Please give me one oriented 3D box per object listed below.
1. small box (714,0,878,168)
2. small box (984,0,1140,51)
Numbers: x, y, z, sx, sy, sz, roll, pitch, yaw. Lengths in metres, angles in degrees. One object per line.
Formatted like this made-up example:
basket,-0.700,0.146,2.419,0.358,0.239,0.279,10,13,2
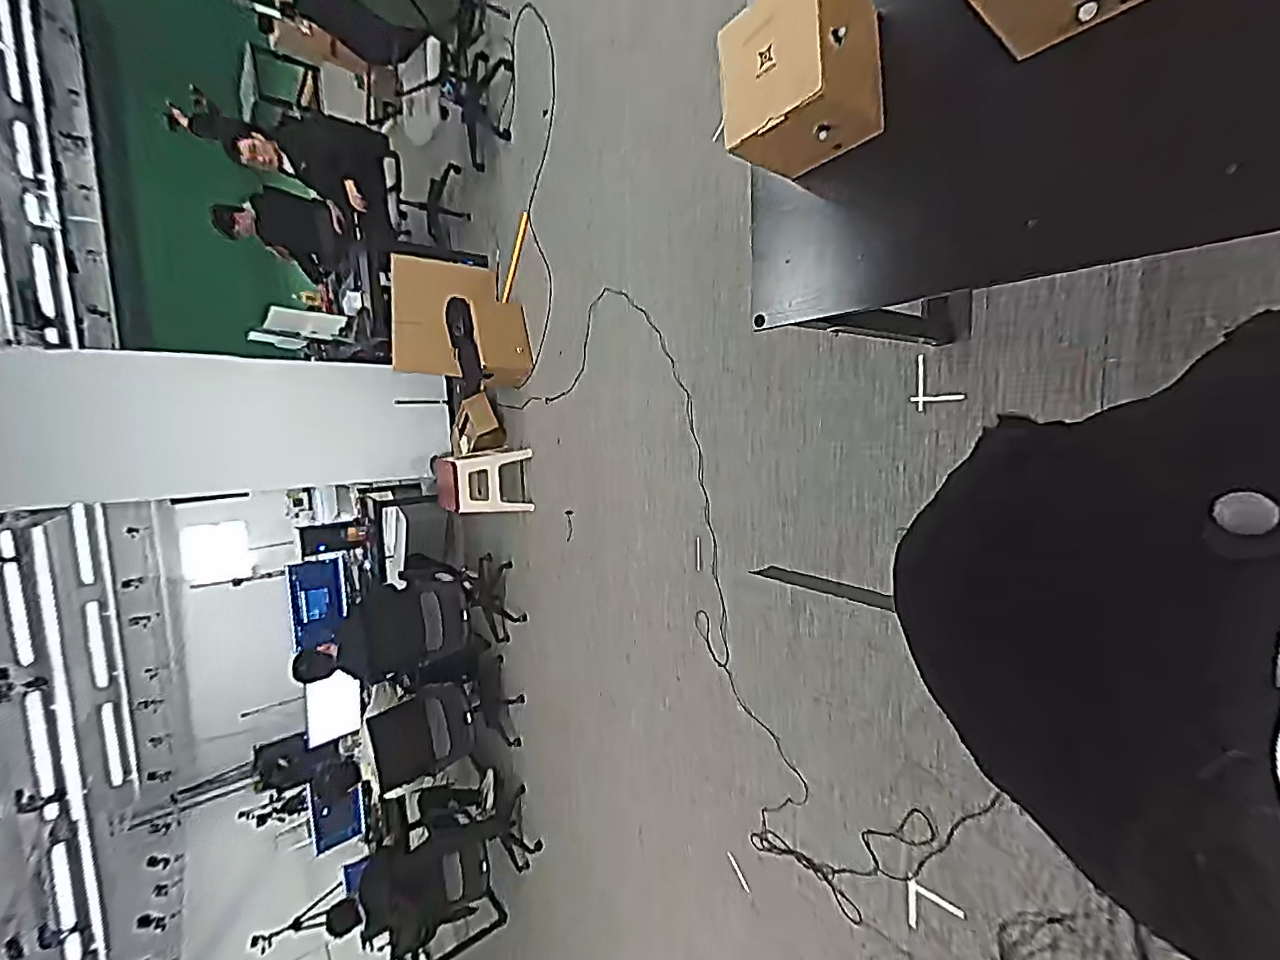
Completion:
small box,0.229,-0.583,0.786,0.168,0.176,0.179,-1,94,50
small box,0.437,-0.580,0.526,0.168,0.176,0.179,4,99,51
